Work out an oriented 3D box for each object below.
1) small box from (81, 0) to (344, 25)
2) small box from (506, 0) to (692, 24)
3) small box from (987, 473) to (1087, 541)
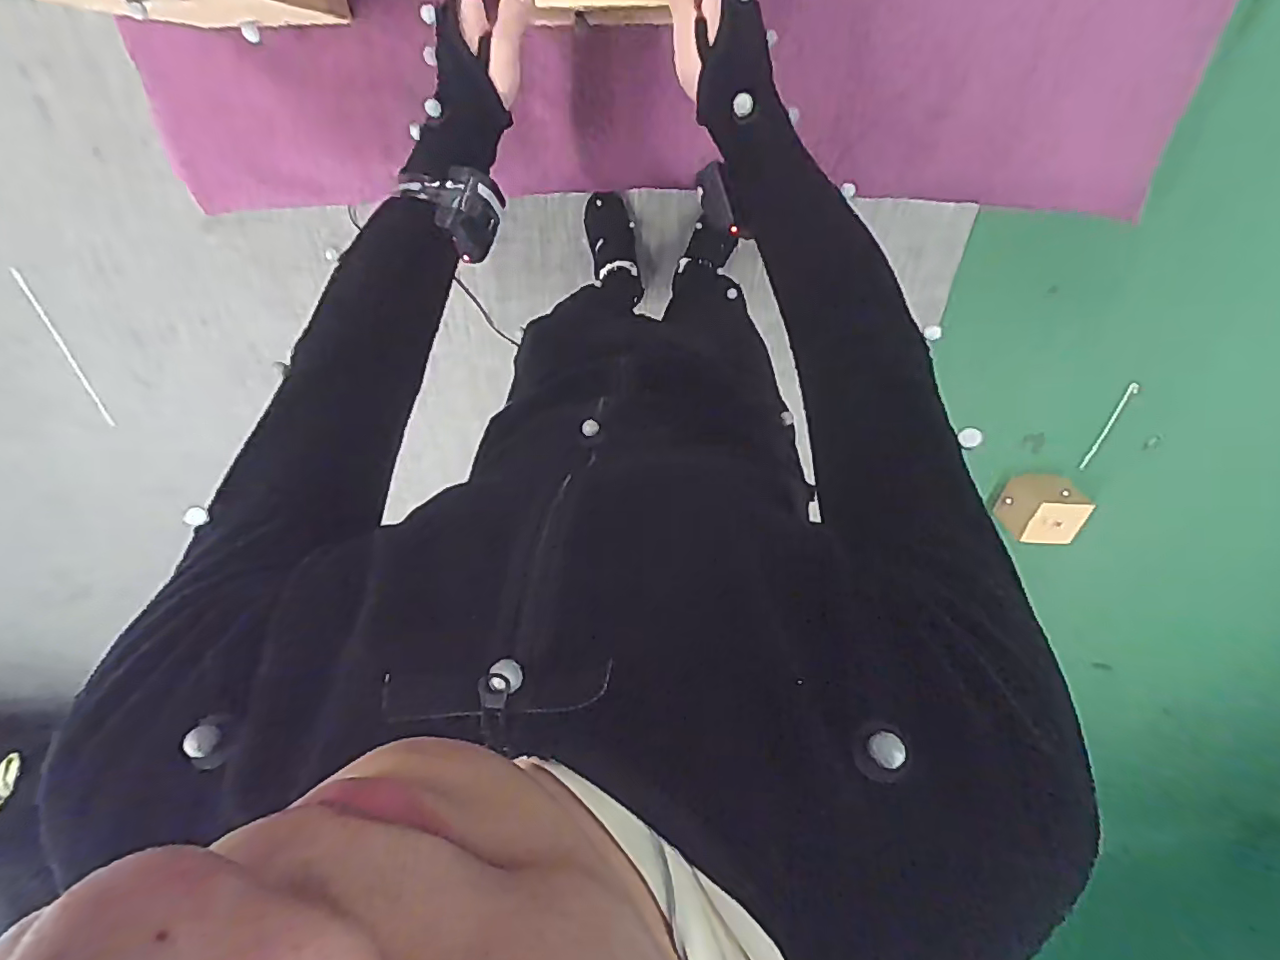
[{"bbox_3d":[-0.394,-0.518,0.469,0.168,0.176,0.179,-1,126,0],"label":"small box"},{"bbox_3d":[-0.034,-0.522,0.477,0.168,0.176,0.179,-1,125,0],"label":"small box"},{"bbox_3d":[1.322,0.088,1.814,0.179,0.176,0.168,2,125,-3],"label":"small box"}]
